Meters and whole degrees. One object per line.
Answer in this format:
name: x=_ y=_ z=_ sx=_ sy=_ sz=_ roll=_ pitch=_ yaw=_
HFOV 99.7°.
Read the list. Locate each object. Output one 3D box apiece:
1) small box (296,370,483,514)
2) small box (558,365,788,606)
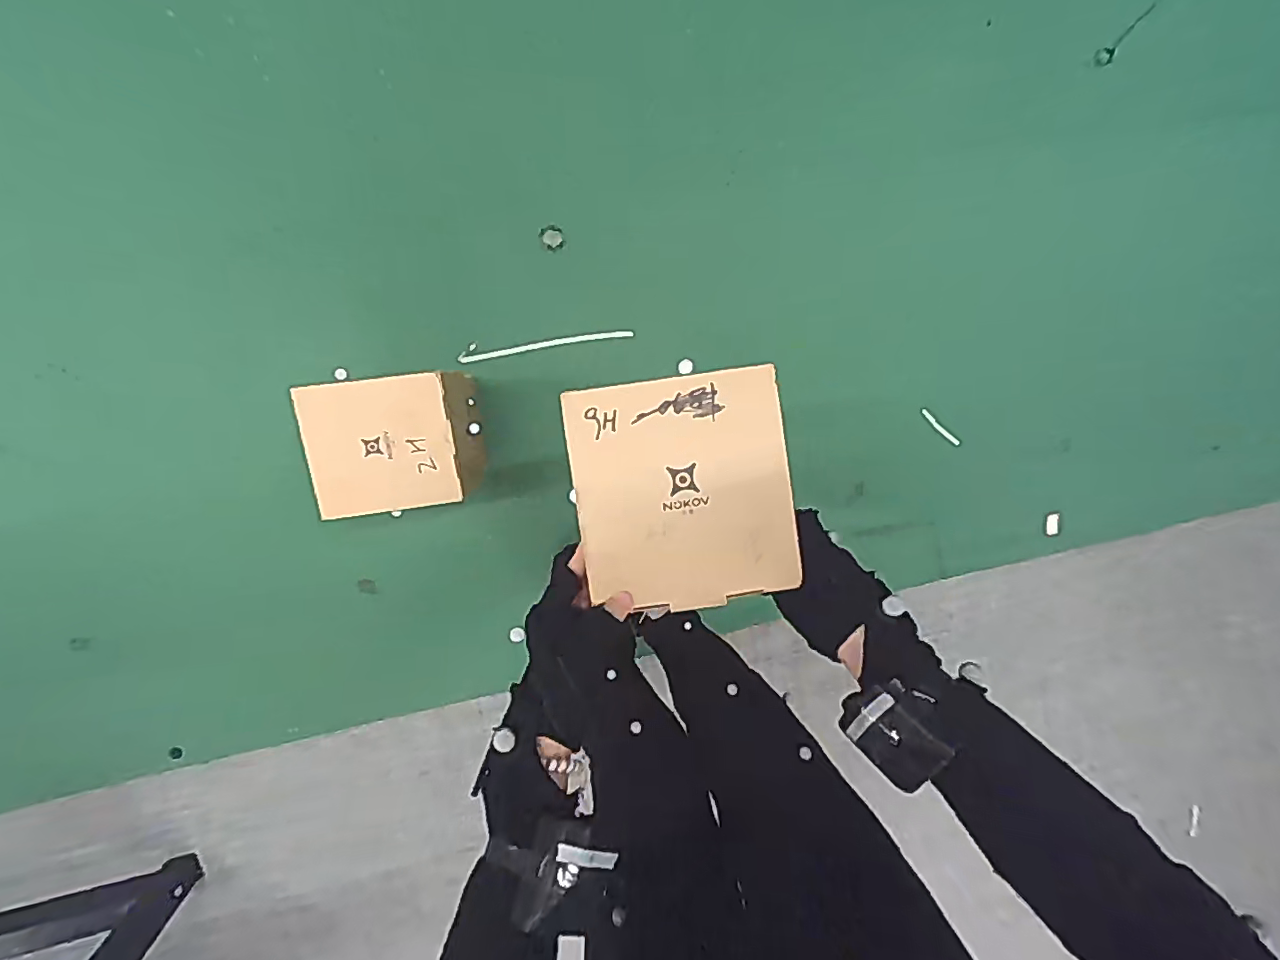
small box: x=-0.329 y=-0.059 z=0.746 sx=0.179 sy=0.176 sz=0.168 roll=-7 pitch=101 yaw=-6
small box: x=0.028 y=0.000 z=0.501 sx=0.168 sy=0.176 sz=0.179 roll=-8 pitch=94 yaw=0
